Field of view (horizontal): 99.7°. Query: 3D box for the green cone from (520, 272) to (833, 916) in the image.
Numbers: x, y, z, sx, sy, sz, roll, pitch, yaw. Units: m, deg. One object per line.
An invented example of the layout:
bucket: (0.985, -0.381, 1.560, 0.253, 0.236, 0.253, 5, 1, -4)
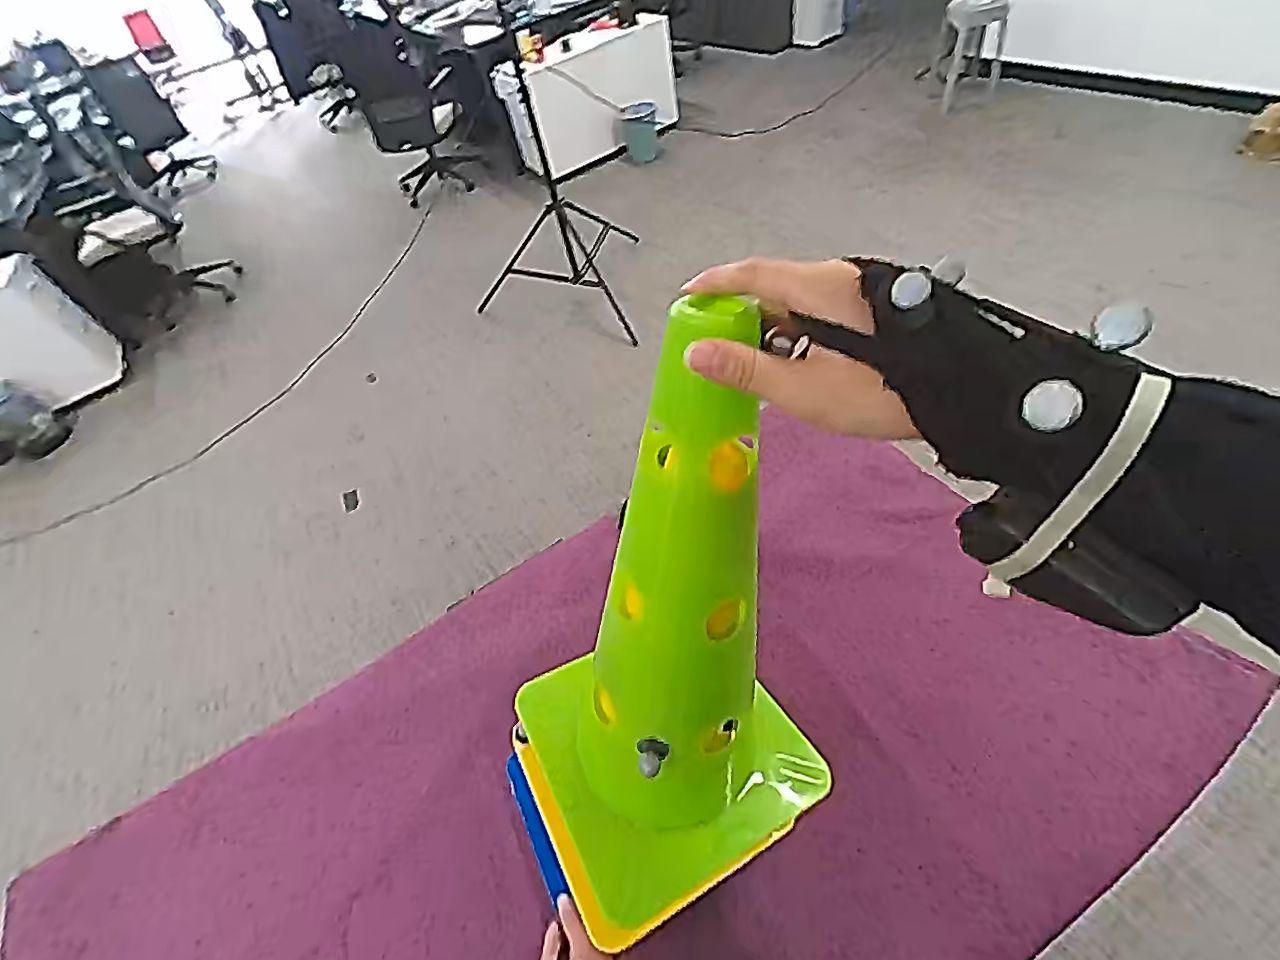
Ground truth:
green cone: (0.030, 0.060, 0.341, 0.200, 0.368, 0.202, -18, 40, -26)
